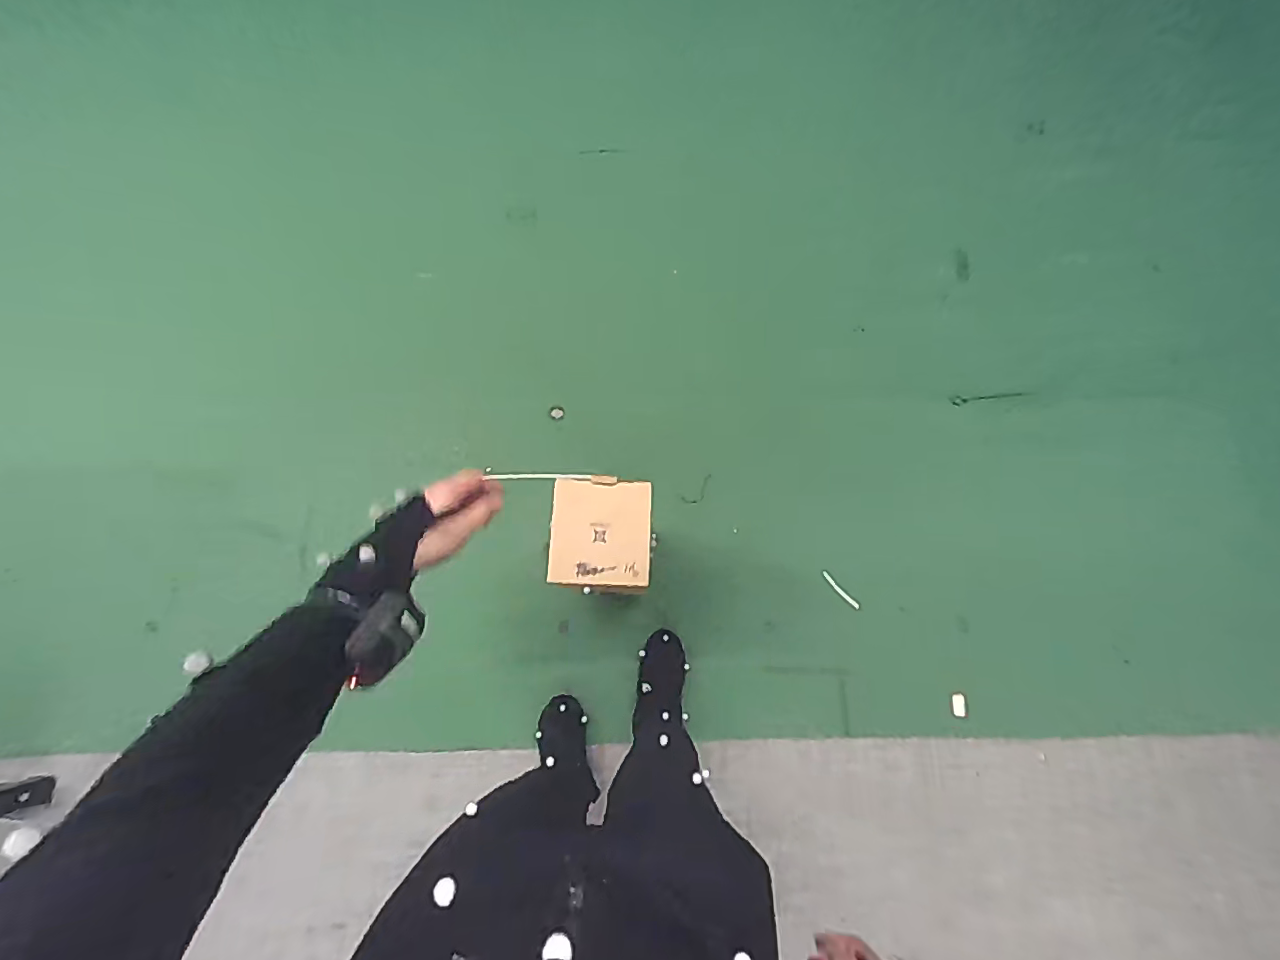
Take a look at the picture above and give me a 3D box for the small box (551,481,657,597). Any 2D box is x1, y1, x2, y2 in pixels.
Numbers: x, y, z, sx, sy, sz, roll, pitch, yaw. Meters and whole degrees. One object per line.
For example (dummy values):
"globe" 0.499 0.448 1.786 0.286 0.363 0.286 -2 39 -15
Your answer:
"small box" -0.061 0.112 0.964 0.168 0.176 0.179 3 75 -2
